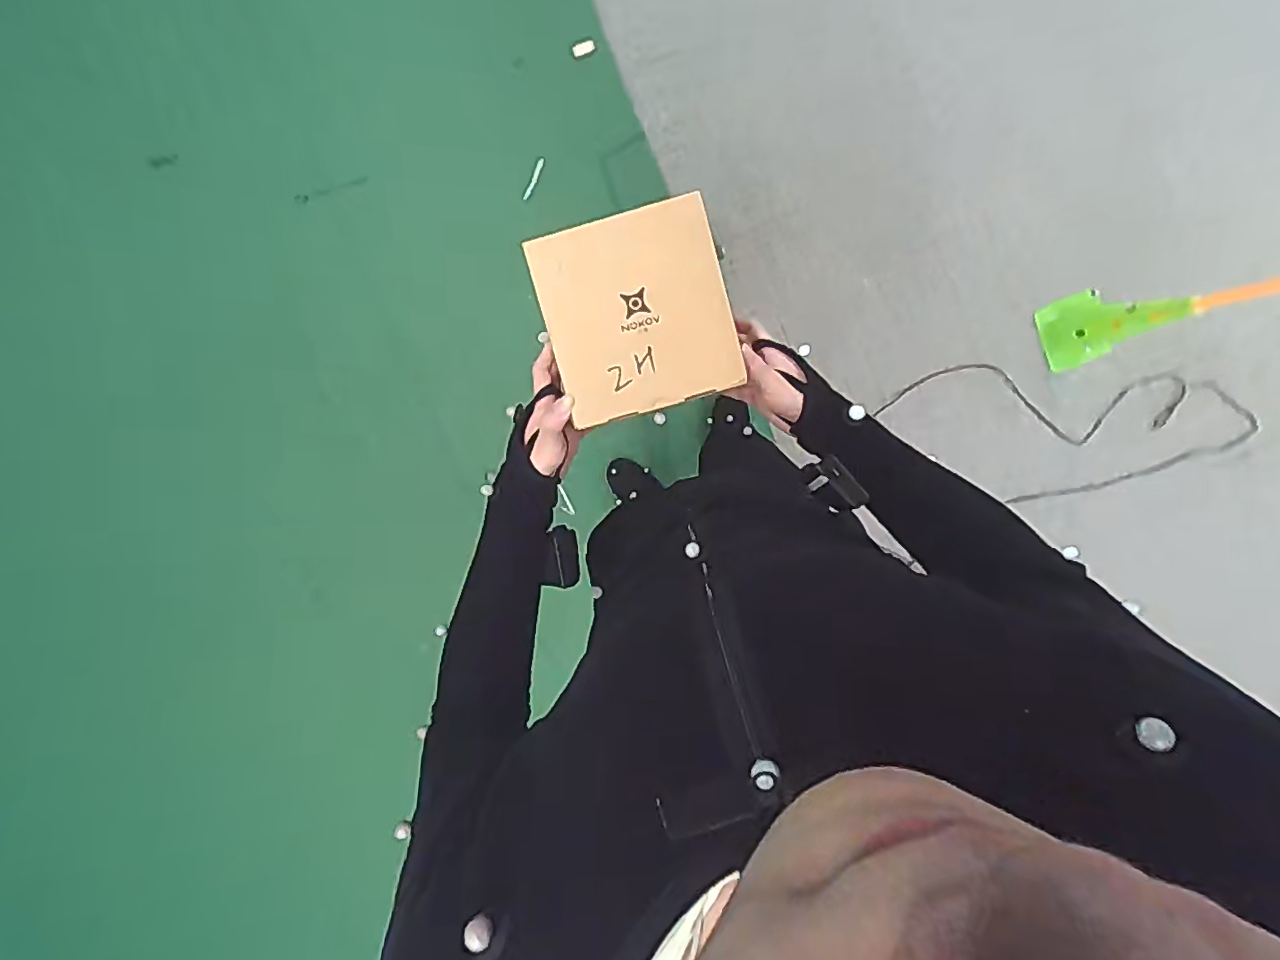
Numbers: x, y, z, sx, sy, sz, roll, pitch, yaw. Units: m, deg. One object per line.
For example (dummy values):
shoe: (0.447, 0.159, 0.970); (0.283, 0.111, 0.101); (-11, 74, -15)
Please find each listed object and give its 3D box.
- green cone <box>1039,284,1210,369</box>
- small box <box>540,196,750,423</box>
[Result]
green cone: (1.297, -0.431, 1.432); (0.200, 0.368, 0.202); (-23, 97, 2)
small box: (0.006, -0.162, 0.574); (0.168, 0.176, 0.179); (-13, 96, 3)
